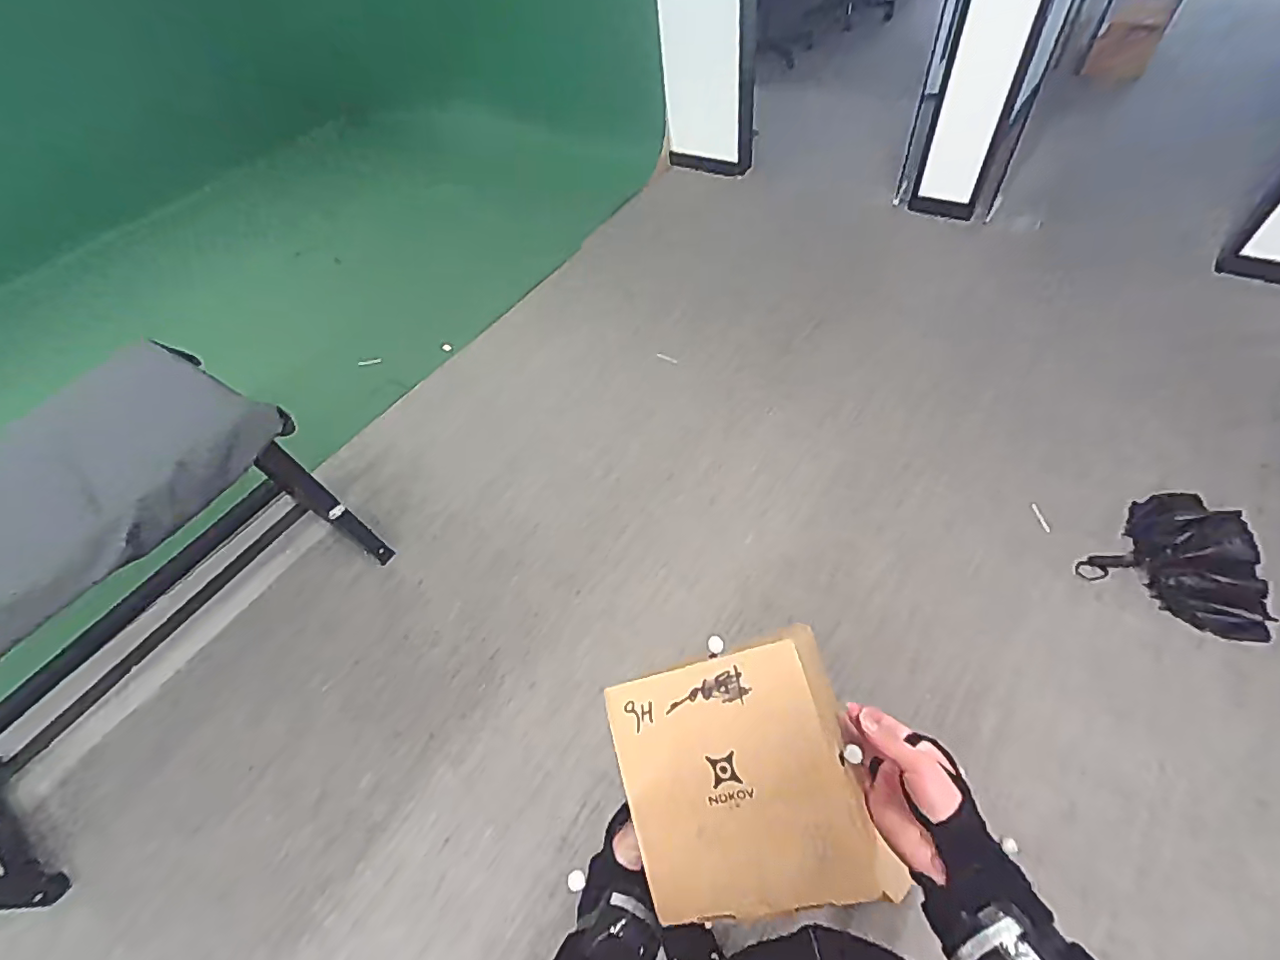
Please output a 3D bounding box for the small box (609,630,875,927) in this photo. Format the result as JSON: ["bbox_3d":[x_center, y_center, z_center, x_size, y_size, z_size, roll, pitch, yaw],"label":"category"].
[{"bbox_3d":[0.096,0.248,0.487,0.168,0.176,0.179,-21,75,16],"label":"small box"}]

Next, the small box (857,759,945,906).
[{"bbox_3d":[0.455,0.693,1.070,0.179,0.176,0.168,-39,57,-18],"label":"small box"}]
